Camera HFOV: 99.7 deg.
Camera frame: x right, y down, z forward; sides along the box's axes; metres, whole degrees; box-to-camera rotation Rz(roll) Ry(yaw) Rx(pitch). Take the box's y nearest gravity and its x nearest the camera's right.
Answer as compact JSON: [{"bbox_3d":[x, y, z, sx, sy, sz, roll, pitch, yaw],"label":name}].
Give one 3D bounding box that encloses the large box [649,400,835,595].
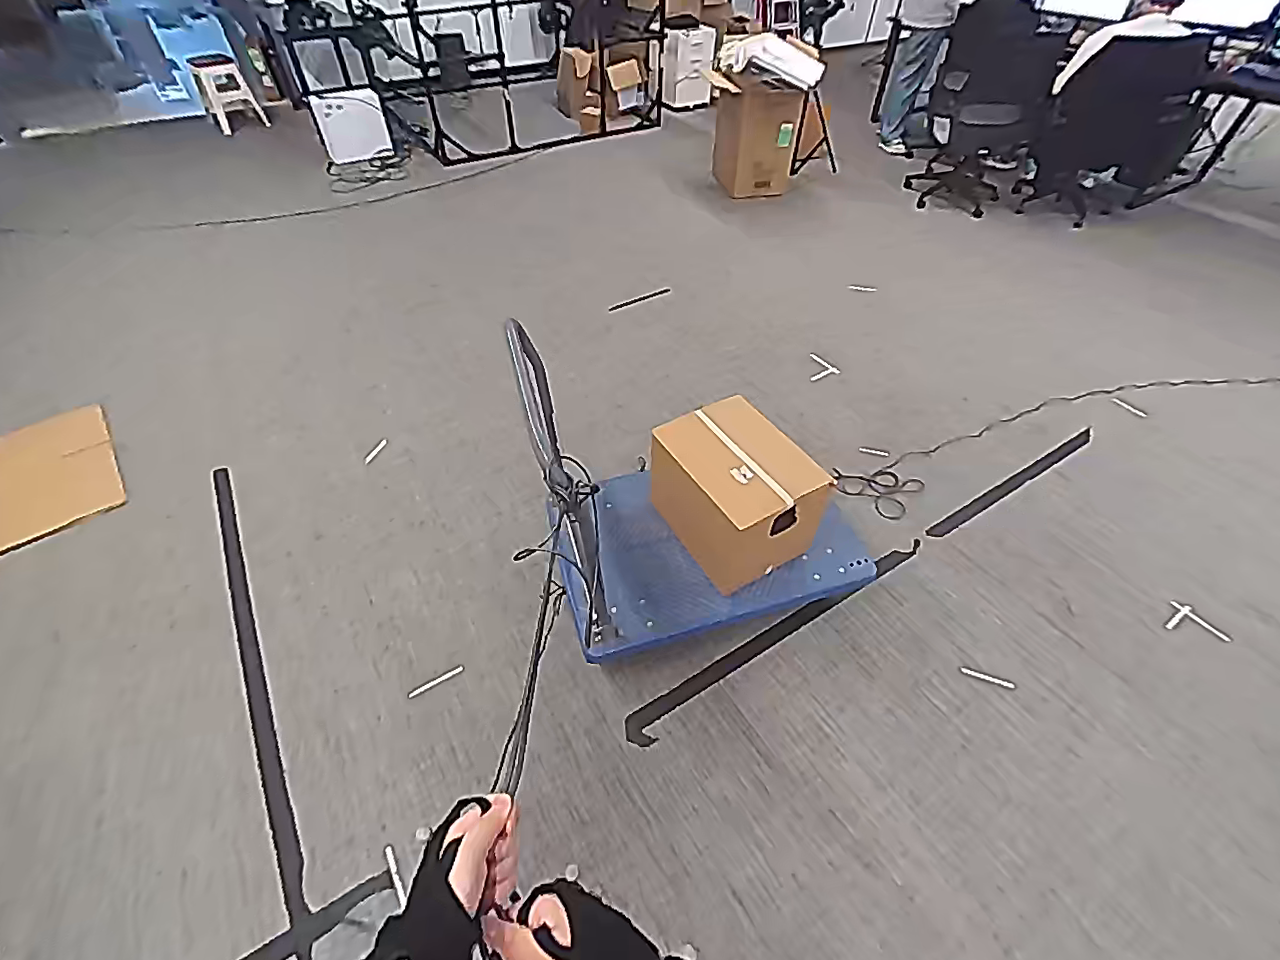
[{"bbox_3d":[0.261,0.041,1.540,0.320,0.320,0.408,-24,53,-20],"label":"large box"}]
